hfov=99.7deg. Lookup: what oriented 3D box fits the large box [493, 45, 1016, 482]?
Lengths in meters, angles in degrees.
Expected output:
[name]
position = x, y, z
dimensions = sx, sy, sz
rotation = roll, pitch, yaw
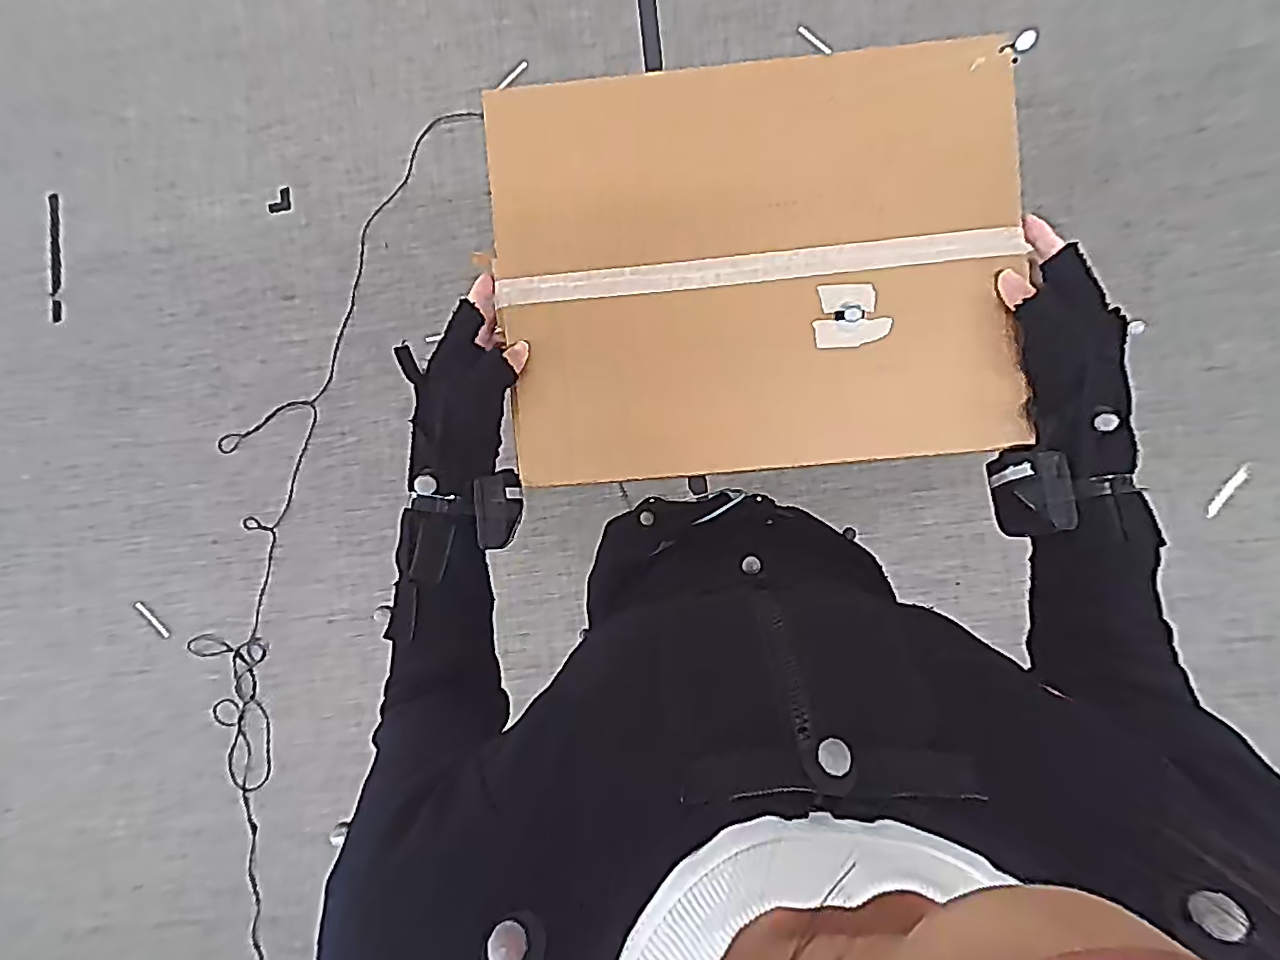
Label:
[large box]
position = 0.094, -0.176, 0.583
dimensions = 0.408, 0.320, 0.320
rotation = -5, 93, 1
